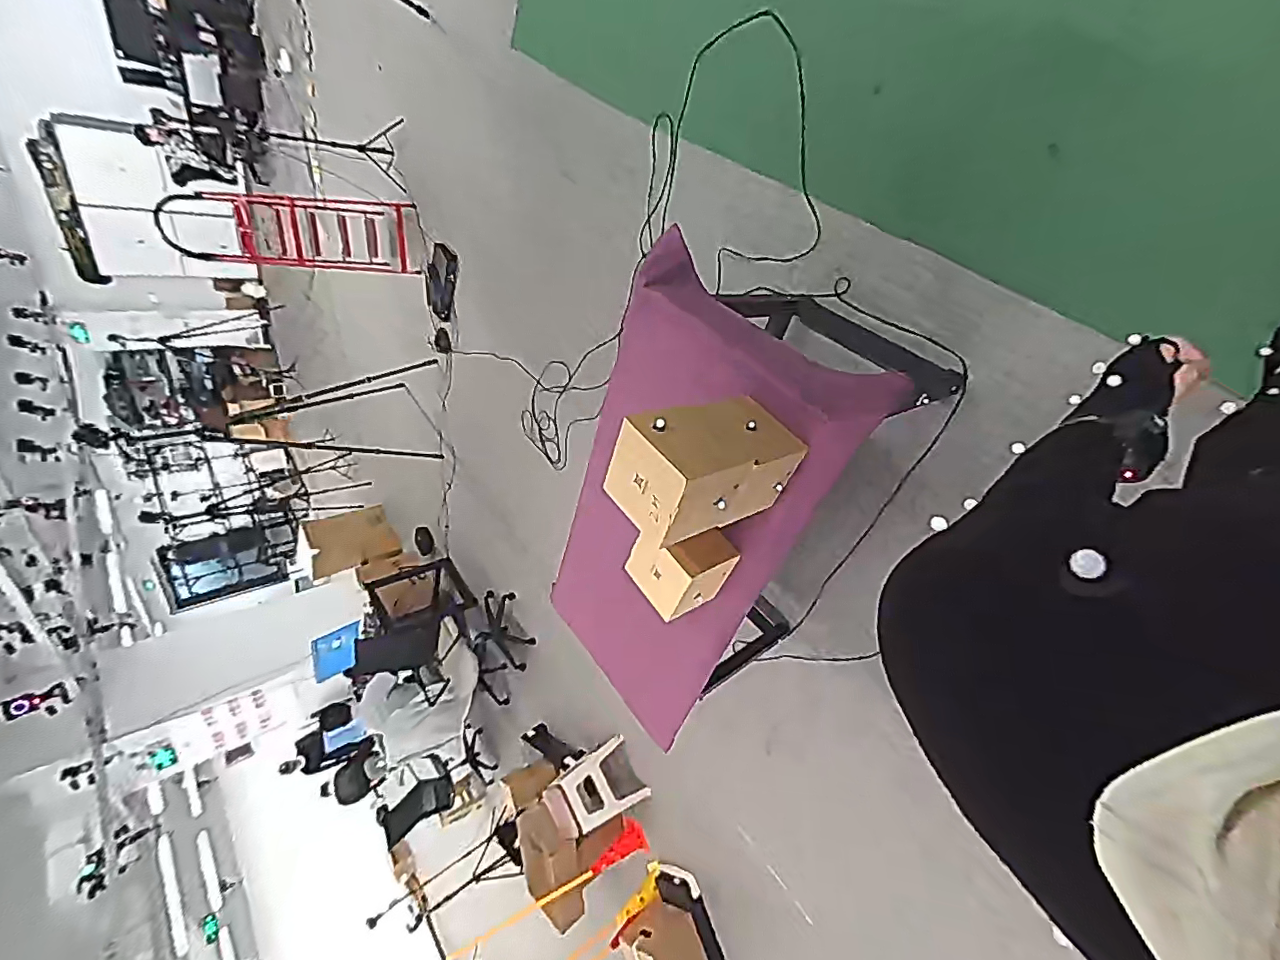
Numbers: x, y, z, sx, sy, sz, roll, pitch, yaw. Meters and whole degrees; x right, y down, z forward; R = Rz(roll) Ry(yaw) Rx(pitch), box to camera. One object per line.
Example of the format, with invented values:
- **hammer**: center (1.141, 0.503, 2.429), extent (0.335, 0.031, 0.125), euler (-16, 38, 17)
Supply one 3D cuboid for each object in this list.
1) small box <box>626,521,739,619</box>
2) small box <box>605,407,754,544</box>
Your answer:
- **small box**: center (0.101, 0.189, 1.275), extent (0.179, 0.176, 0.168), euler (49, 135, 30)
- **small box**: center (0.069, -0.017, 0.974), extent (0.179, 0.176, 0.168), euler (47, 135, 30)
